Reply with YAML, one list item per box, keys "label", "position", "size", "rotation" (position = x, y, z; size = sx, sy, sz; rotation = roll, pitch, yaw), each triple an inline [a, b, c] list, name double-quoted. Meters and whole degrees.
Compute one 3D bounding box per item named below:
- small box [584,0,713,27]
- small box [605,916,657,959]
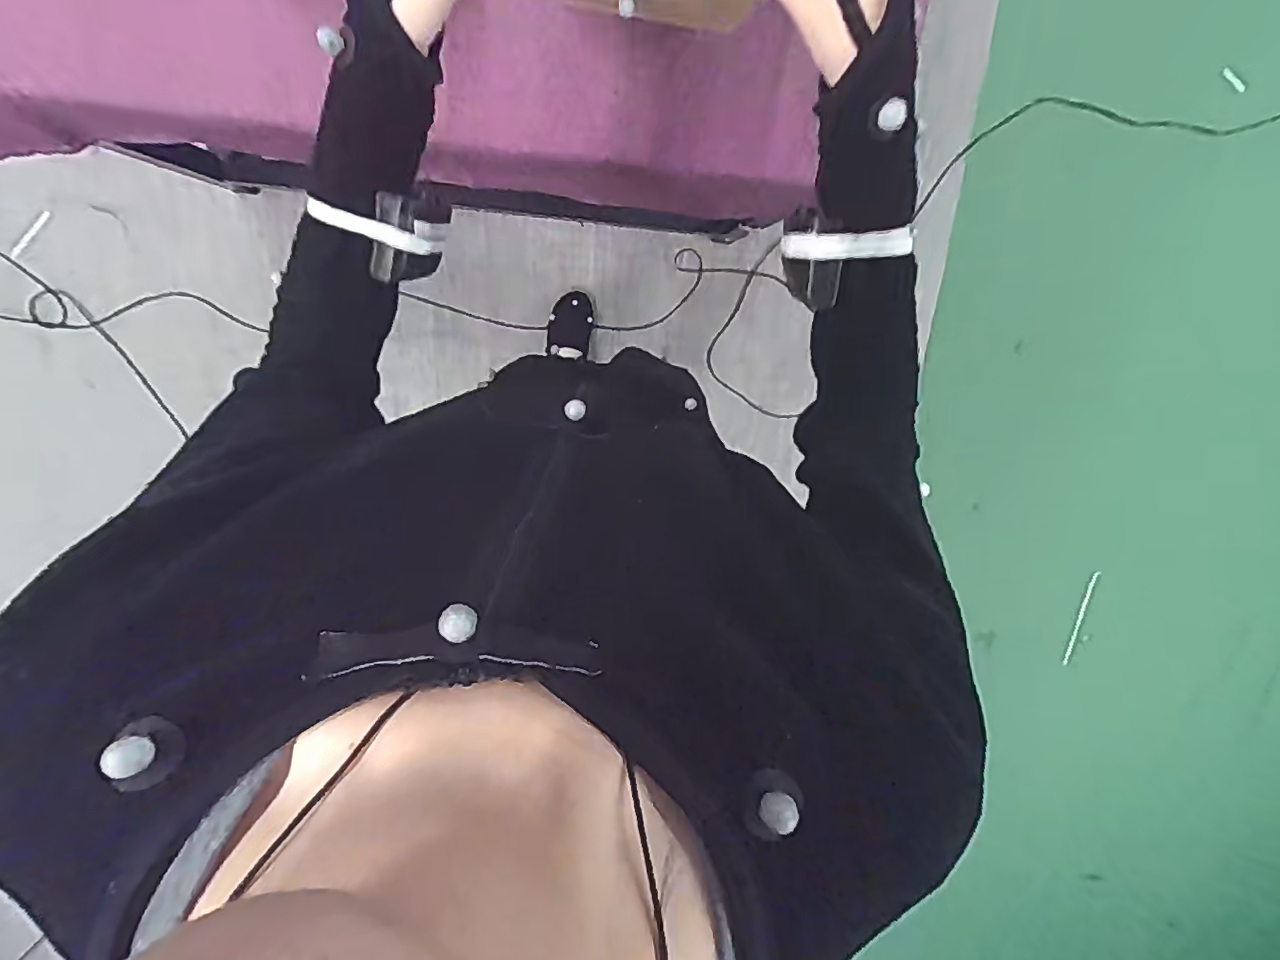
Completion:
- label: "small box"
  position: [0.011, -0.583, 0.516]
  size: [0.168, 0.176, 0.179]
  rotation: [5, 105, -7]
- label: "small box"
  position: [-0.038, 1.750, 1.984]
  size: [0.179, 0.176, 0.168]
  rotation: [1, 107, -7]
